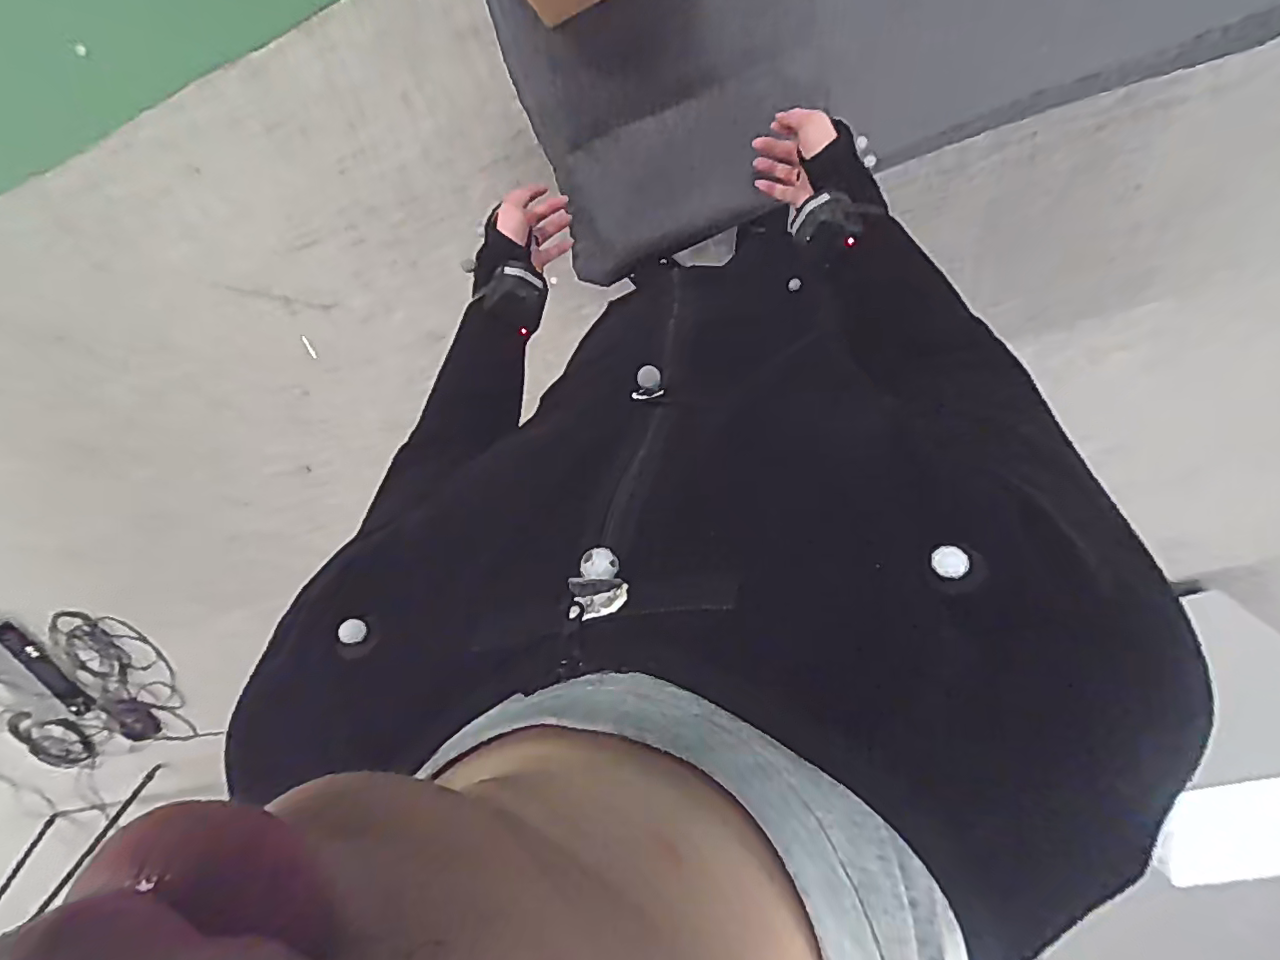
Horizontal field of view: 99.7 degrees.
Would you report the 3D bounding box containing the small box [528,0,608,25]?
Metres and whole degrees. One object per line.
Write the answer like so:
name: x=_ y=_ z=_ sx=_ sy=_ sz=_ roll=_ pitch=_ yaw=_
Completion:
small box: x=-0.053 y=-0.548 z=0.470 sx=0.179 sy=0.176 sz=0.168 roll=-18 pitch=114 yaw=14
